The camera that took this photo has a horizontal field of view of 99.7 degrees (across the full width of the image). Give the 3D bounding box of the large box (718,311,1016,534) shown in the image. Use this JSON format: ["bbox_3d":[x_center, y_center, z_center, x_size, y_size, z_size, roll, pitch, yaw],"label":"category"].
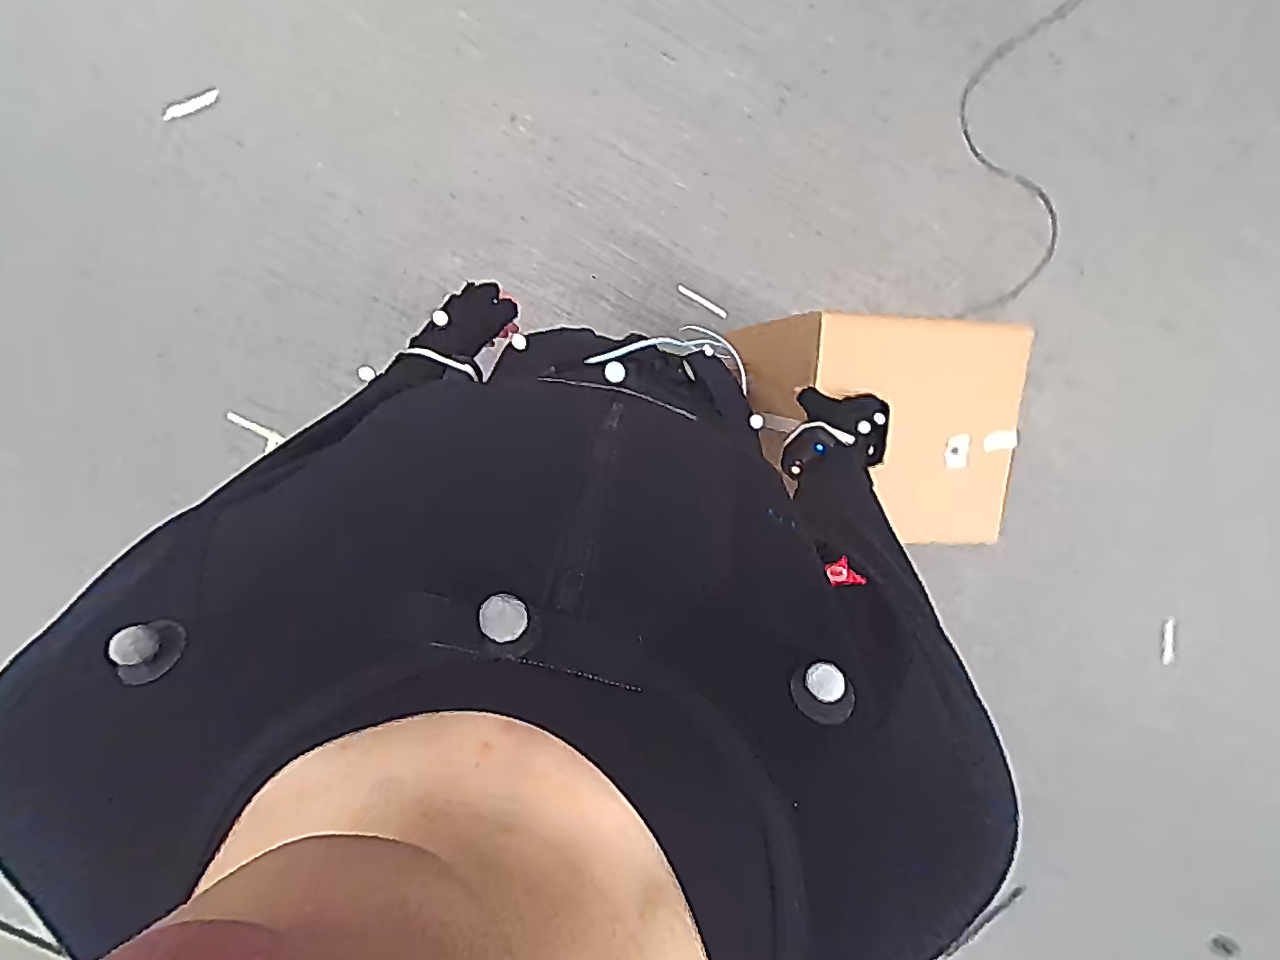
[{"bbox_3d":[0.348,-0.104,0.944,0.320,0.408,0.320,3,102,-8],"label":"large box"}]
